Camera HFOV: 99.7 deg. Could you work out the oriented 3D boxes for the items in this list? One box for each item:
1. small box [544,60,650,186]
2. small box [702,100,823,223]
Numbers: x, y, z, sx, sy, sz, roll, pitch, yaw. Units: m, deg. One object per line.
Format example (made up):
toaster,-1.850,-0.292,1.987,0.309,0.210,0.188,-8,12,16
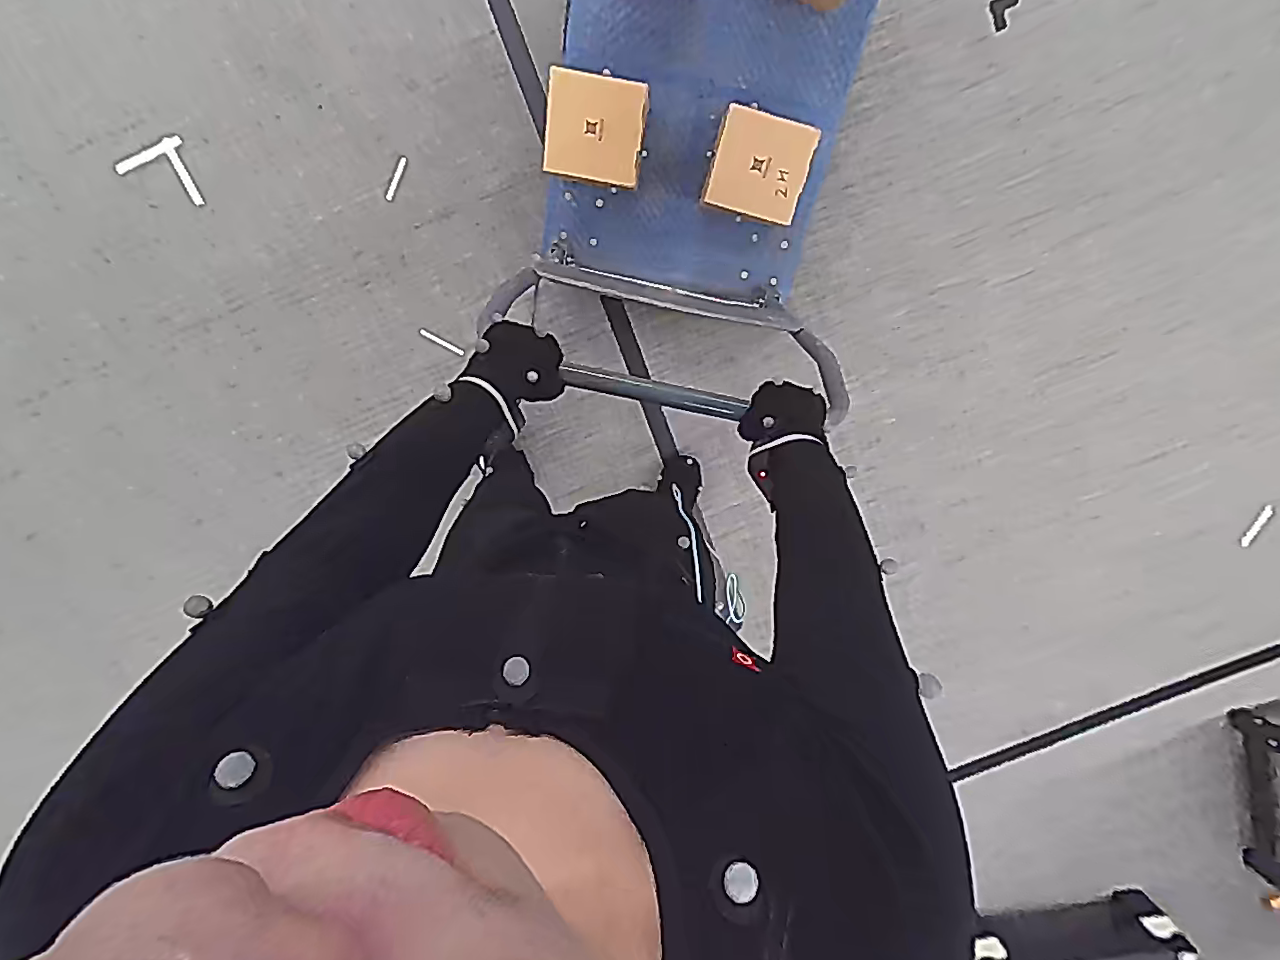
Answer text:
small box,-0.080,-0.681,1.053,0.179,0.176,0.168,8,115,-4
small box,0.230,-0.618,1.072,0.179,0.176,0.168,15,115,-5
